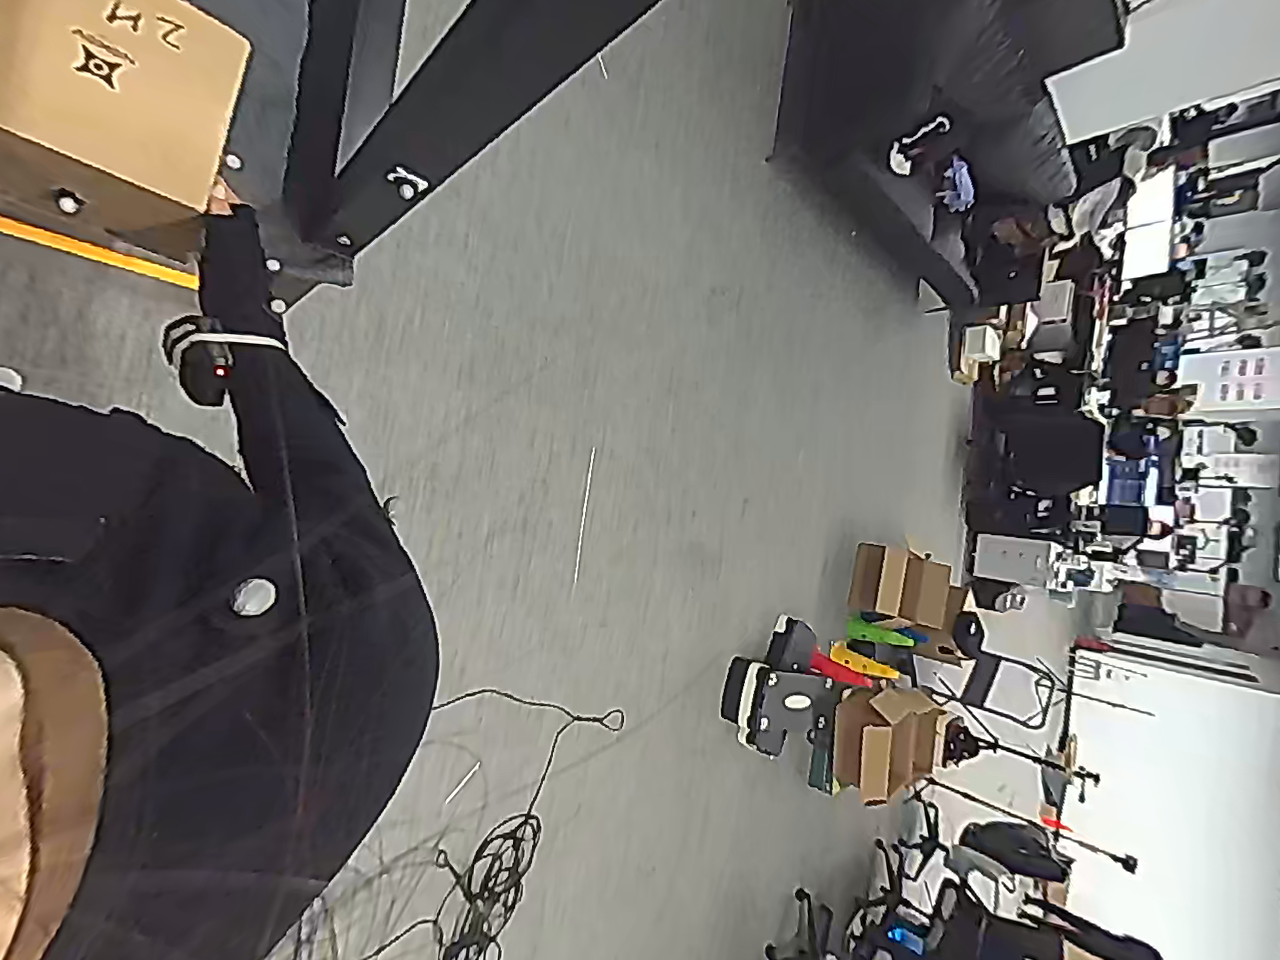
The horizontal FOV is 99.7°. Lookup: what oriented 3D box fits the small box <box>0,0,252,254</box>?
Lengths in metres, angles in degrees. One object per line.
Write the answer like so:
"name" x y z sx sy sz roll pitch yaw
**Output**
"small box" -0.483 -0.336 0.490 0.168 0.176 0.179 15 80 -44
